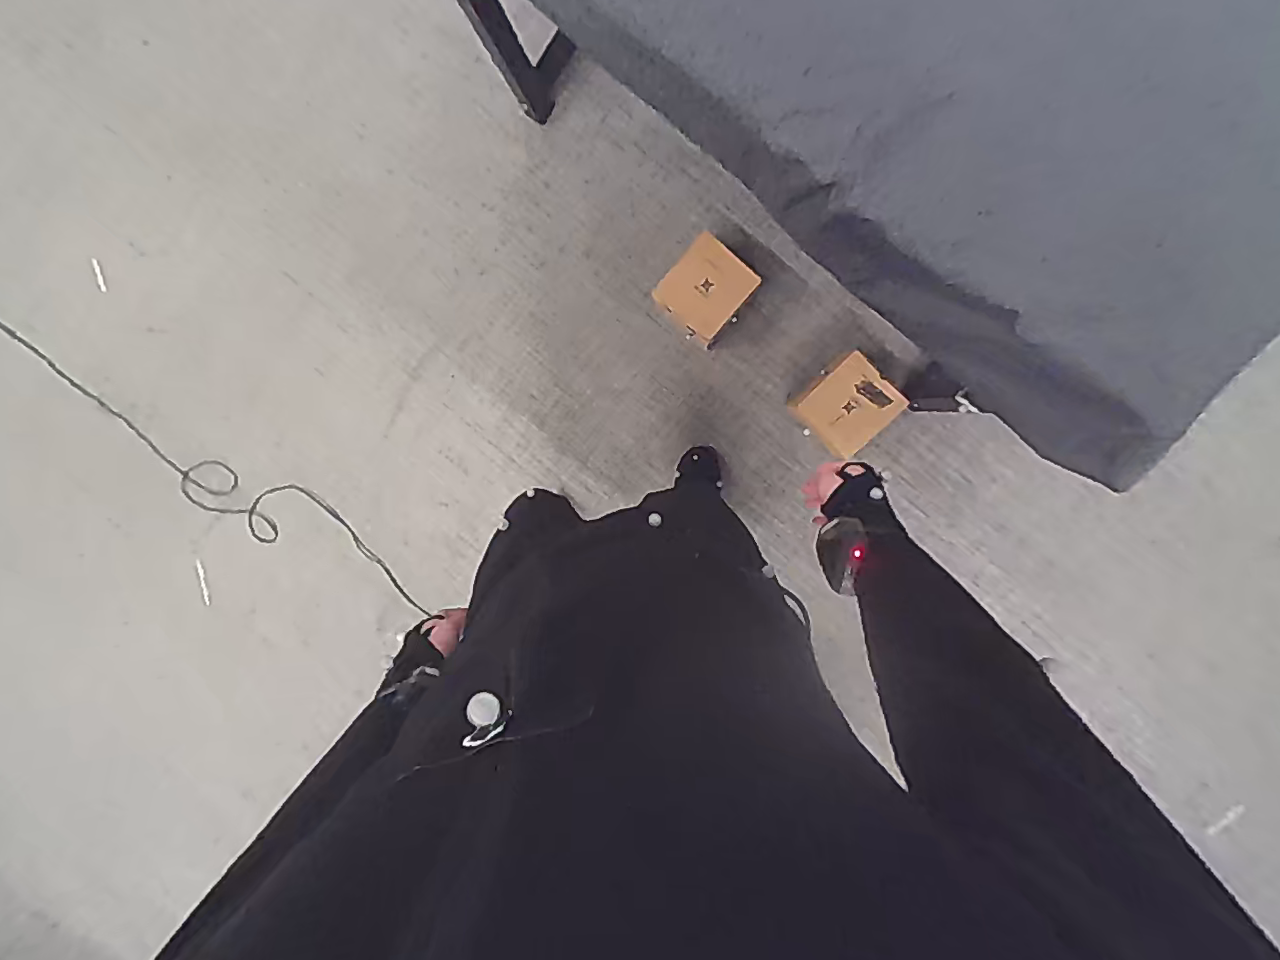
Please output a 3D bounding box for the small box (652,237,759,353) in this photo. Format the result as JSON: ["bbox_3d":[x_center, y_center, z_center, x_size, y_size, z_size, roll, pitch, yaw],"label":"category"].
[{"bbox_3d":[0.150,-0.412,1.240,0.168,0.176,0.179,40,99,0],"label":"small box"}]

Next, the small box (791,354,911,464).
[{"bbox_3d":[0.465,-0.161,1.227,0.168,0.176,0.179,44,102,0],"label":"small box"}]
